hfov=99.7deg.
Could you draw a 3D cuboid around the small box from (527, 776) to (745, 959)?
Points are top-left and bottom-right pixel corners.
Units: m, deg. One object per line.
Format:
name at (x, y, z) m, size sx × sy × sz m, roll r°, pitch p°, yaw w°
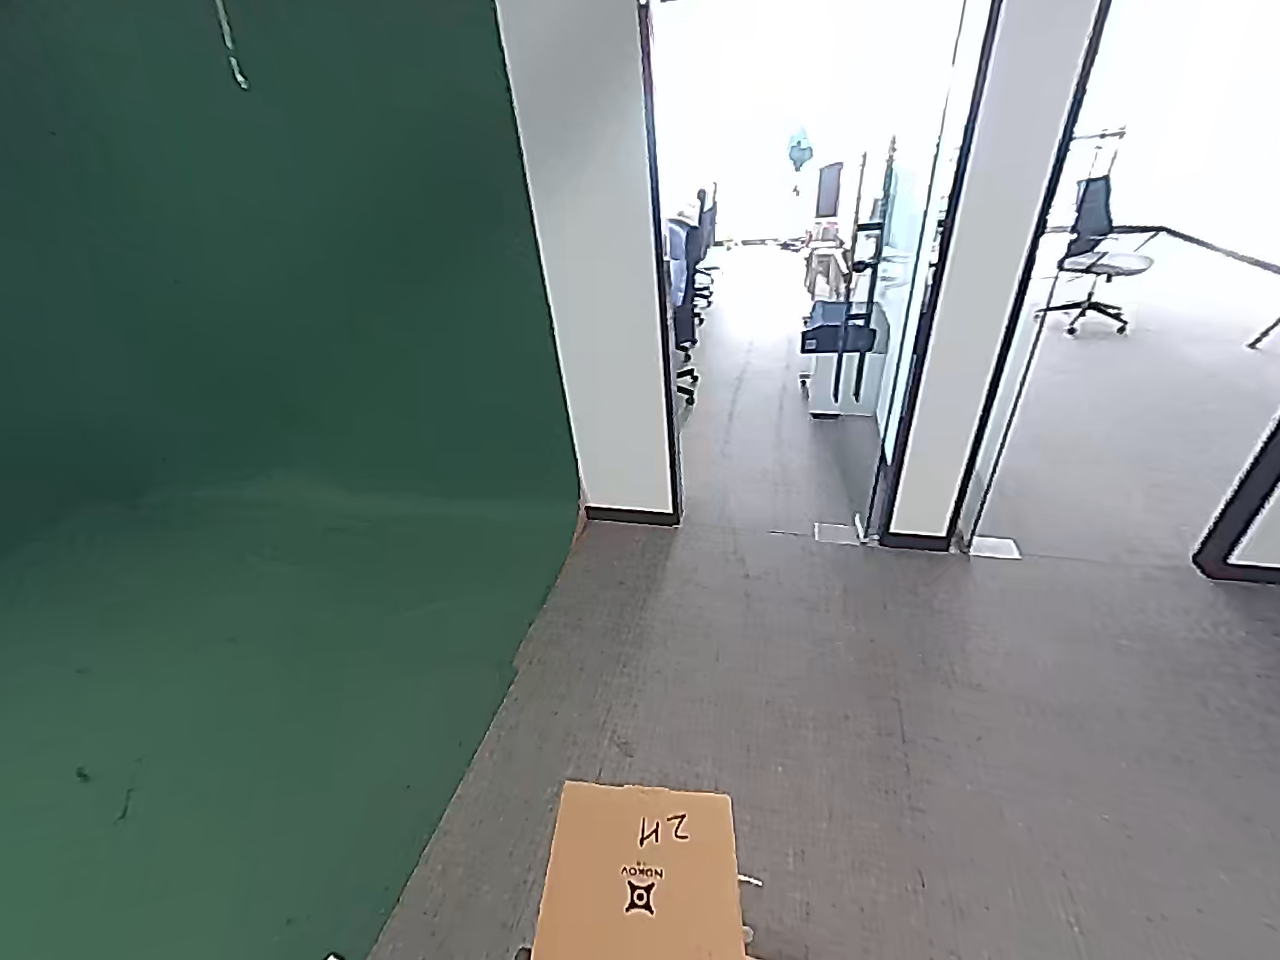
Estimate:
small box at (-0.002, 0.405, 0.484) m, size 0.168 × 0.176 × 0.179 m, roll 5°, pitch 27°, yaw 2°
